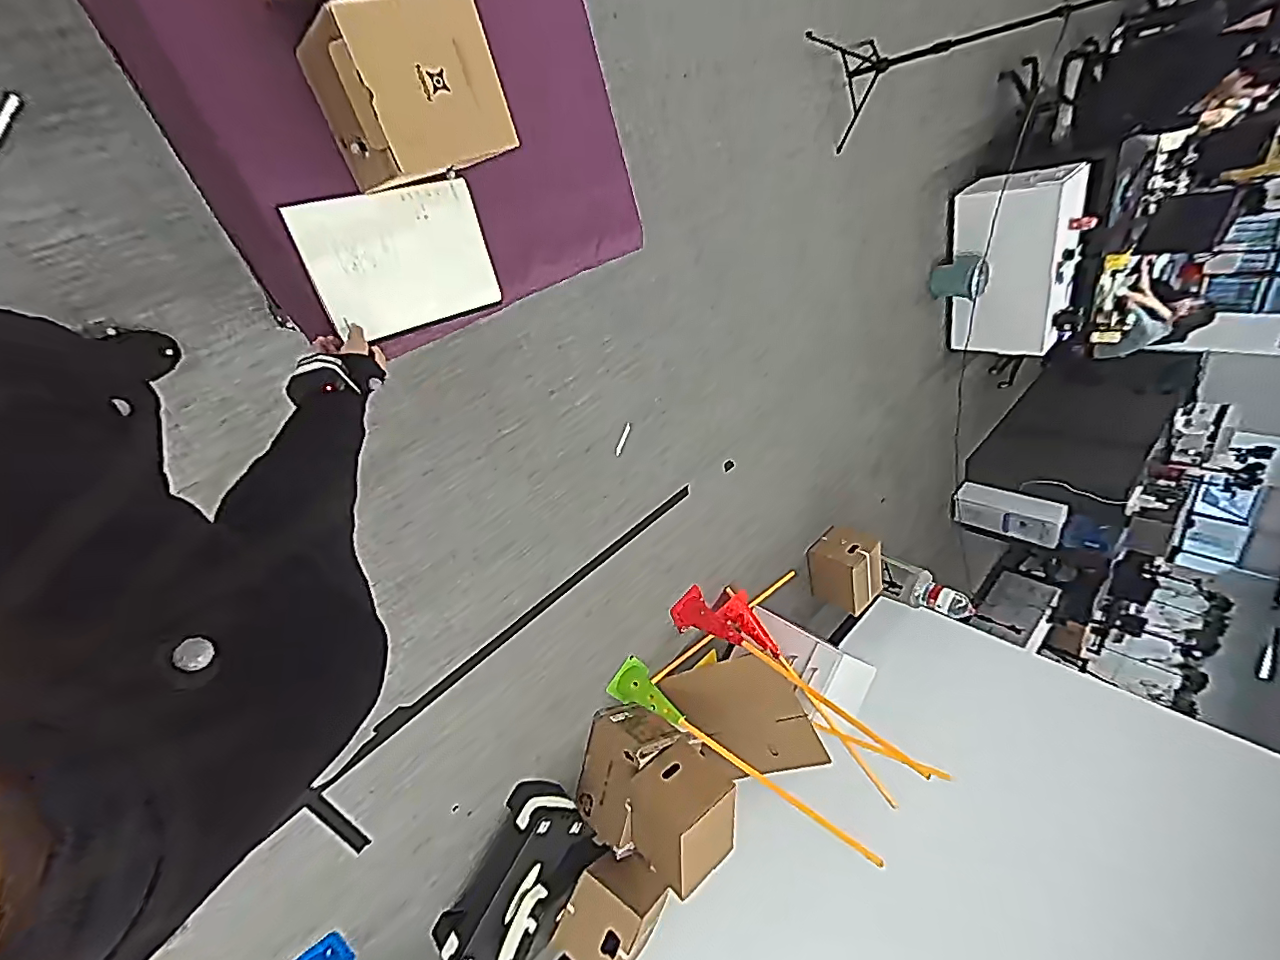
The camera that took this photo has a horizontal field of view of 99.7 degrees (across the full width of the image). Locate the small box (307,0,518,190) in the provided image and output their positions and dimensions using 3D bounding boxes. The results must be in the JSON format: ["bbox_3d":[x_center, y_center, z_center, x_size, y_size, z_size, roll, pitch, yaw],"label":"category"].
[{"bbox_3d":[-0.294,-0.487,0.691,0.179,0.176,0.168,-36,127,-28],"label":"small box"}]
